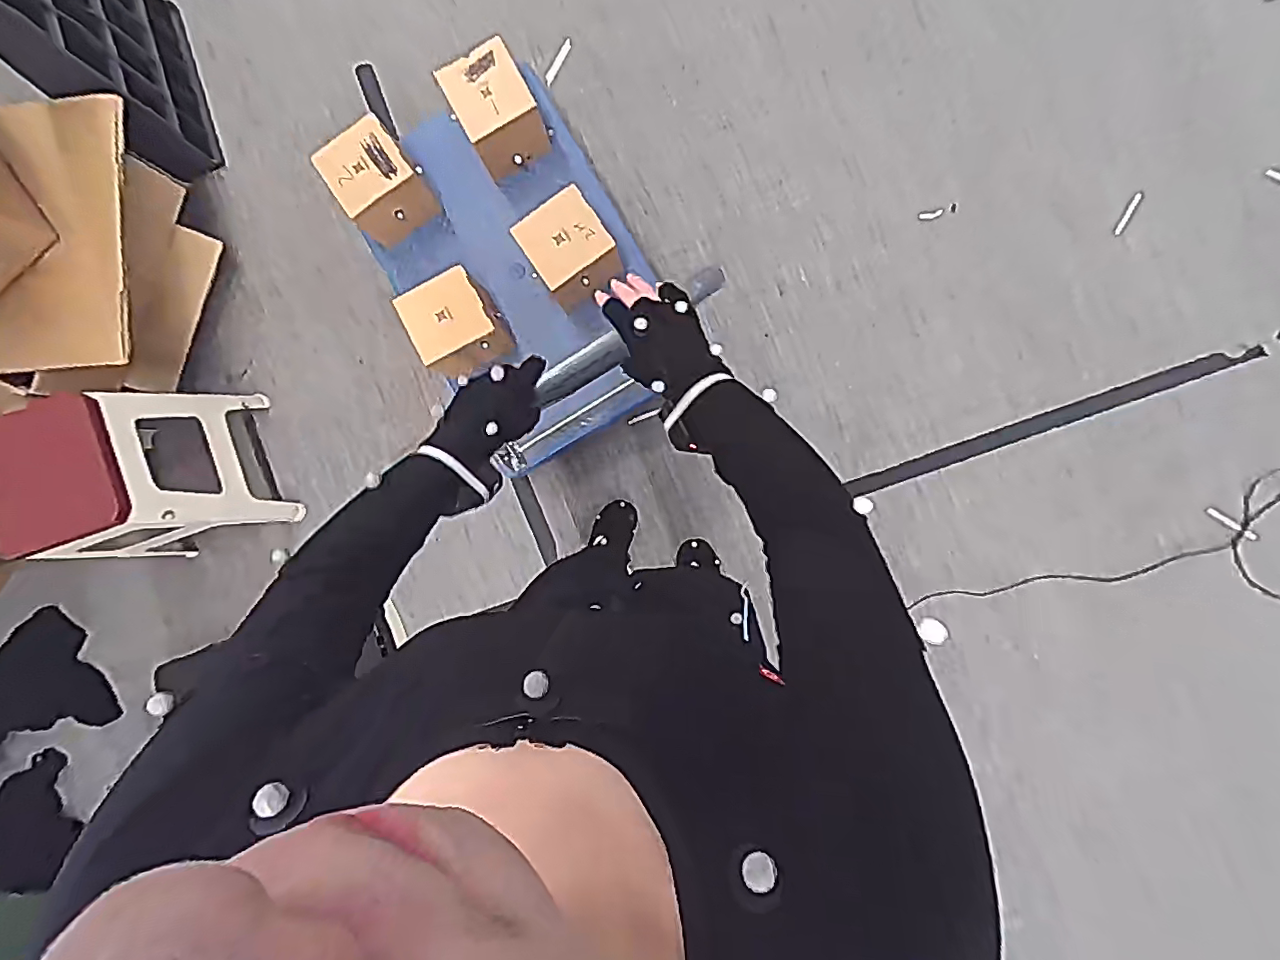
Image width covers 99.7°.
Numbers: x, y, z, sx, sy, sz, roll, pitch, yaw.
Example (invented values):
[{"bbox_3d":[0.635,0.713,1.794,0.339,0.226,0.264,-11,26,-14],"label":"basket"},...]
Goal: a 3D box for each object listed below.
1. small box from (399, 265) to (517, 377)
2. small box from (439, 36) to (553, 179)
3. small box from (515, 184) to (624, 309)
[{"bbox_3d":[-0.414,-0.358,1.256,0.179,0.176,0.168,-28,89,2],"label":"small box"},{"bbox_3d":[-0.321,-0.843,1.241,0.168,0.176,0.179,-29,91,3],"label":"small box"},{"bbox_3d":[-0.152,-0.522,1.239,0.179,0.176,0.168,-35,89,3],"label":"small box"}]
